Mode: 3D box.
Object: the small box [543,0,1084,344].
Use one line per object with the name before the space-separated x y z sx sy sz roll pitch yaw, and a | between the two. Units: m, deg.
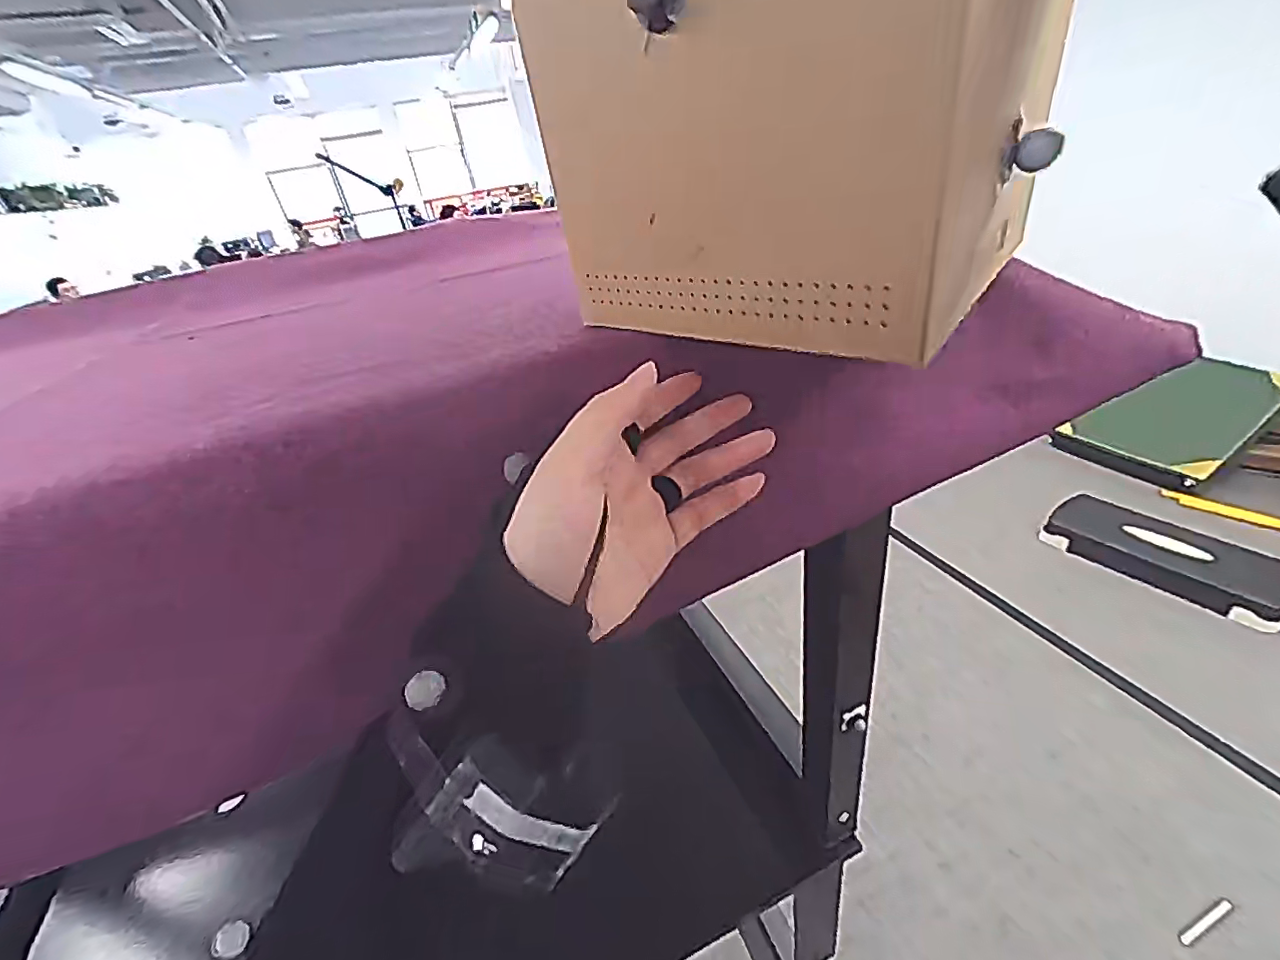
small box | 0.075 -0.173 0.240 0.179 0.176 0.168 18 45 35
